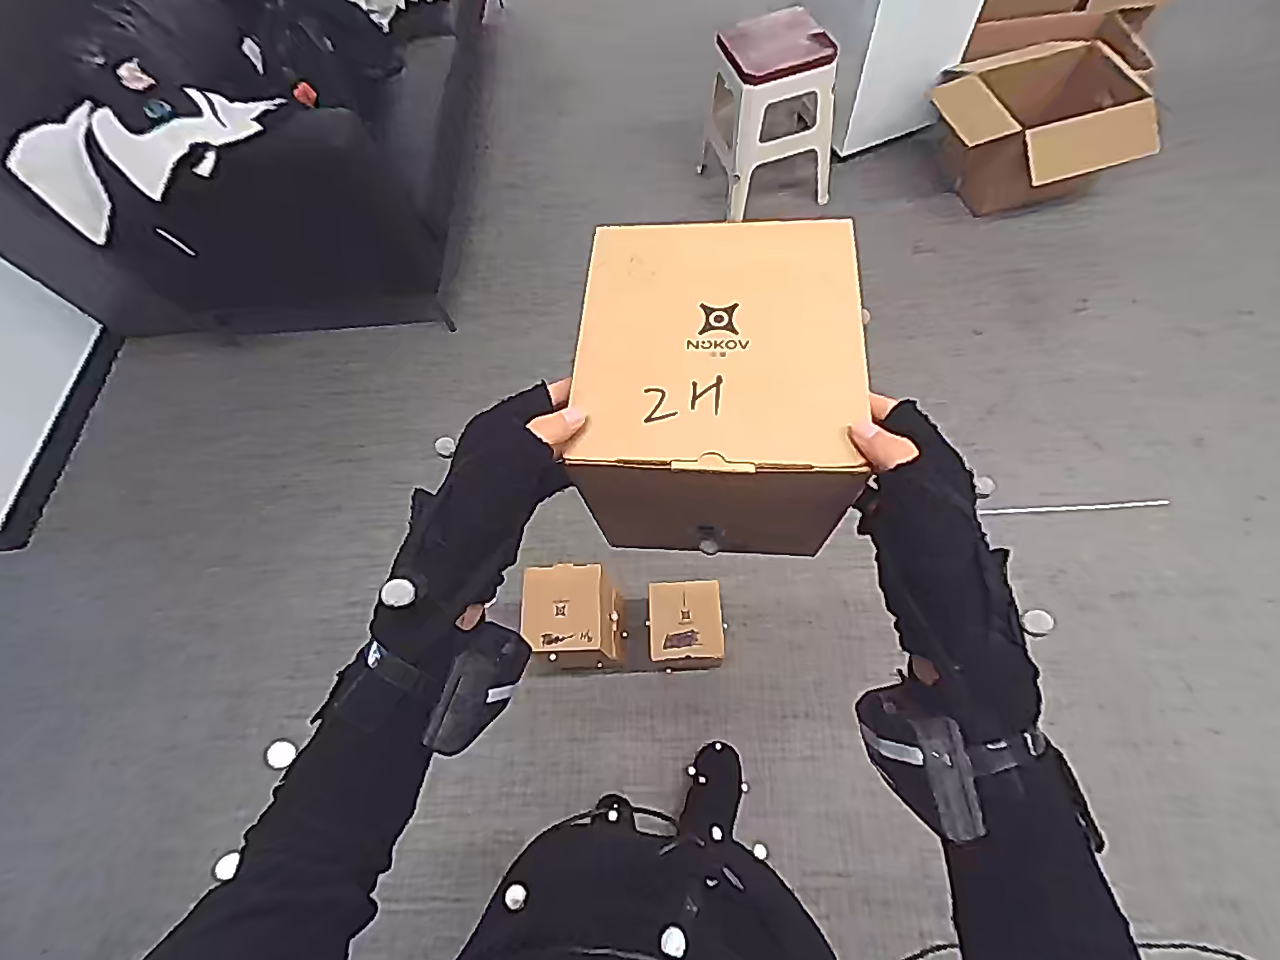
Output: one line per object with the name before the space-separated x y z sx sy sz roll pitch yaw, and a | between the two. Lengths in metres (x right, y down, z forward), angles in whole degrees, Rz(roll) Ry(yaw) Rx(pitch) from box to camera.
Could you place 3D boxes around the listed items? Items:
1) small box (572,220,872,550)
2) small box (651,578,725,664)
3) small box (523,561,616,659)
small box | 0.058 -0.059 0.398 0.168 0.176 0.179 2 68 8
small box | 0.117 0.344 1.300 0.168 0.176 0.179 -4 64 5
small box | -0.145 0.288 1.178 0.168 0.176 0.179 -3 64 5
